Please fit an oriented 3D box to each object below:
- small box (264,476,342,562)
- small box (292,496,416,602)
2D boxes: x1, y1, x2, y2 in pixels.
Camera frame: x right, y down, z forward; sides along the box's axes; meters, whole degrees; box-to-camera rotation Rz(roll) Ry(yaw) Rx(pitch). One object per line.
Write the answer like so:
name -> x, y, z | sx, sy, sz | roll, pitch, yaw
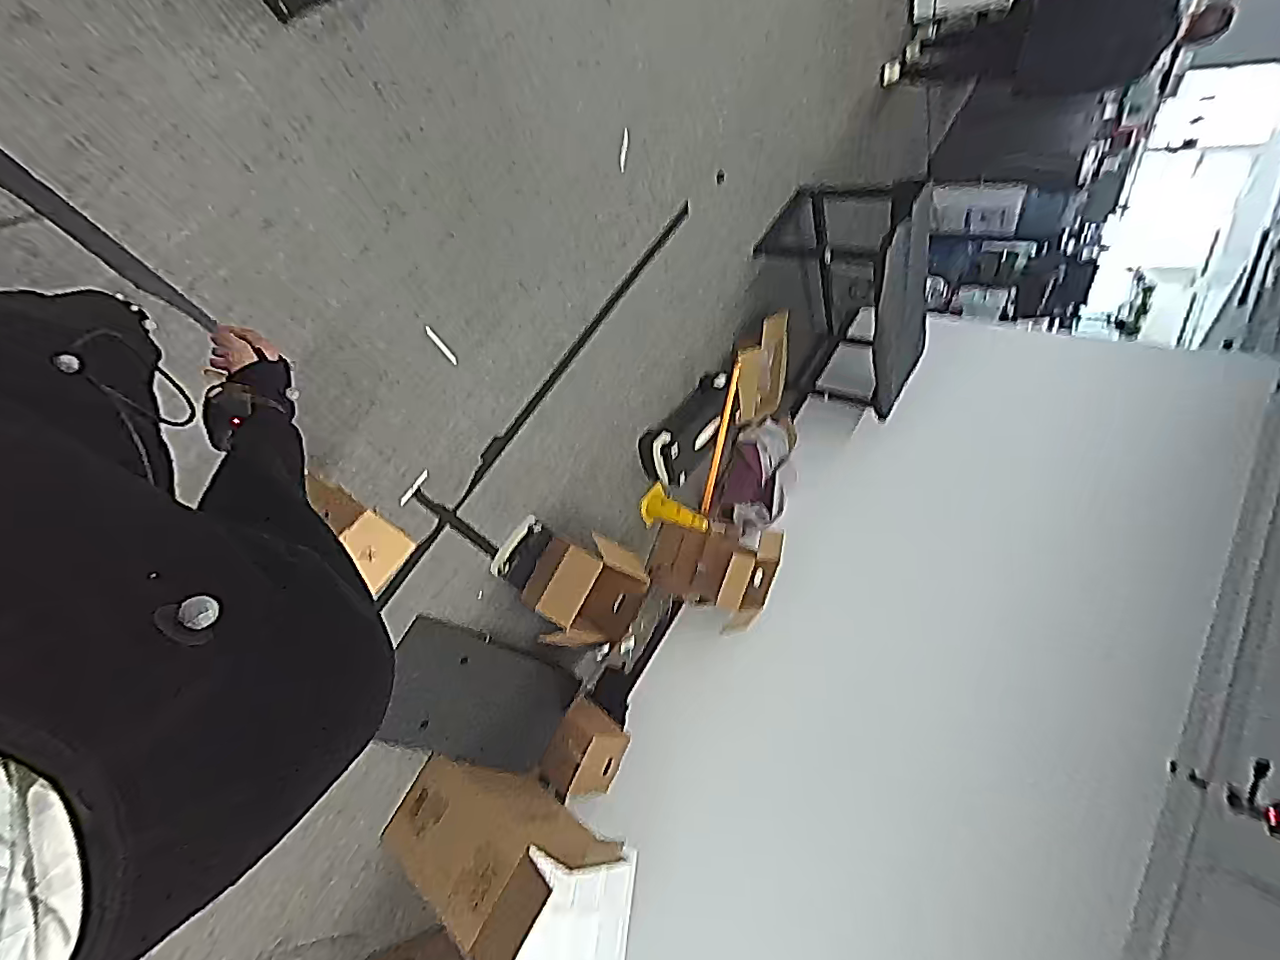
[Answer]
small box -> -0.826, 0.116, 1.403 | 0.179, 0.176, 0.168 | -55, 143, -17
small box -> -0.695, 0.162, 1.317 | 0.168, 0.176, 0.179 | -54, 142, -18
